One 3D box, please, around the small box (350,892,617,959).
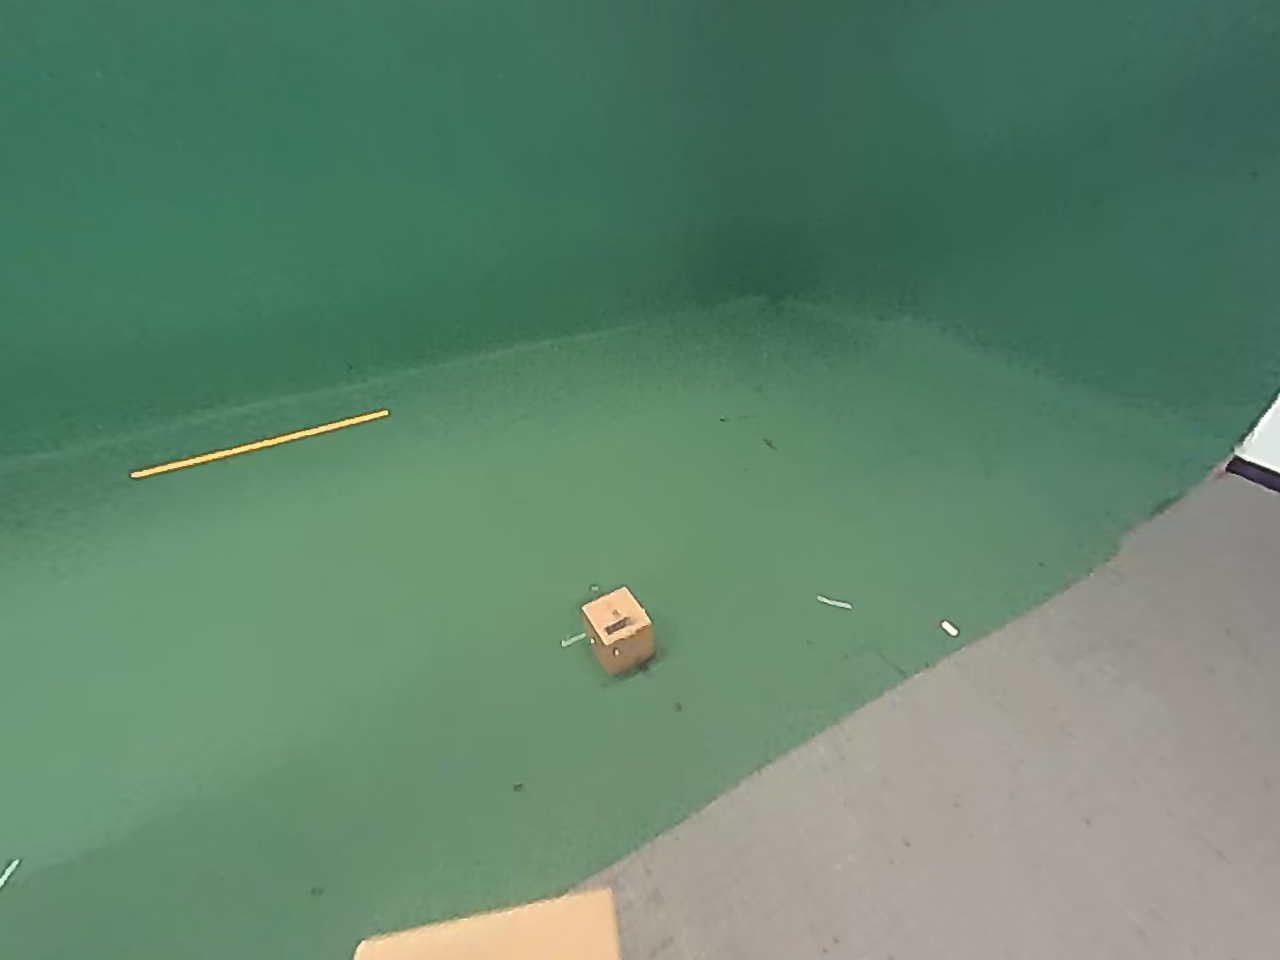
[{"bbox_3d":[-0.087,0.401,0.331,0.168,0.176,0.179,-7,36,-9],"label":"small box"}]
